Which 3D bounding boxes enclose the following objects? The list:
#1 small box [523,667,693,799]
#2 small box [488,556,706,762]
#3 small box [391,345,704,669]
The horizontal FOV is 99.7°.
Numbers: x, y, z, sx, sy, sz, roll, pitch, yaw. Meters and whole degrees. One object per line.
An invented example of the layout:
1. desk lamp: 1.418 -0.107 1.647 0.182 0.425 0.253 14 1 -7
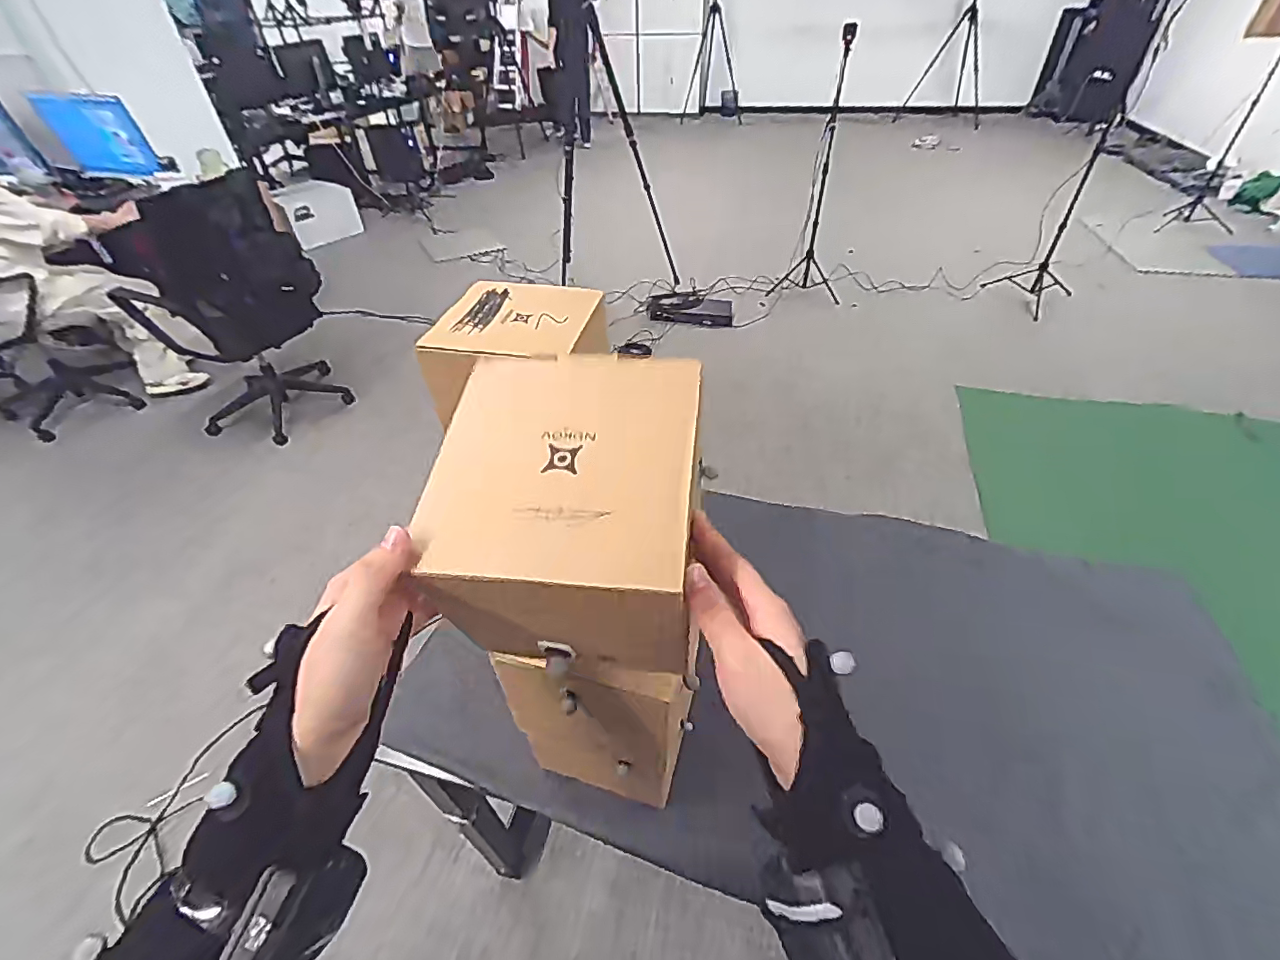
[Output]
1. small box: -0.030 0.290 0.710 0.179 0.176 0.168 11 44 14
2. small box: -0.032 0.181 0.589 0.179 0.176 0.168 9 44 14
3. small box: -0.042 0.024 0.399 0.168 0.176 0.179 3 59 9
